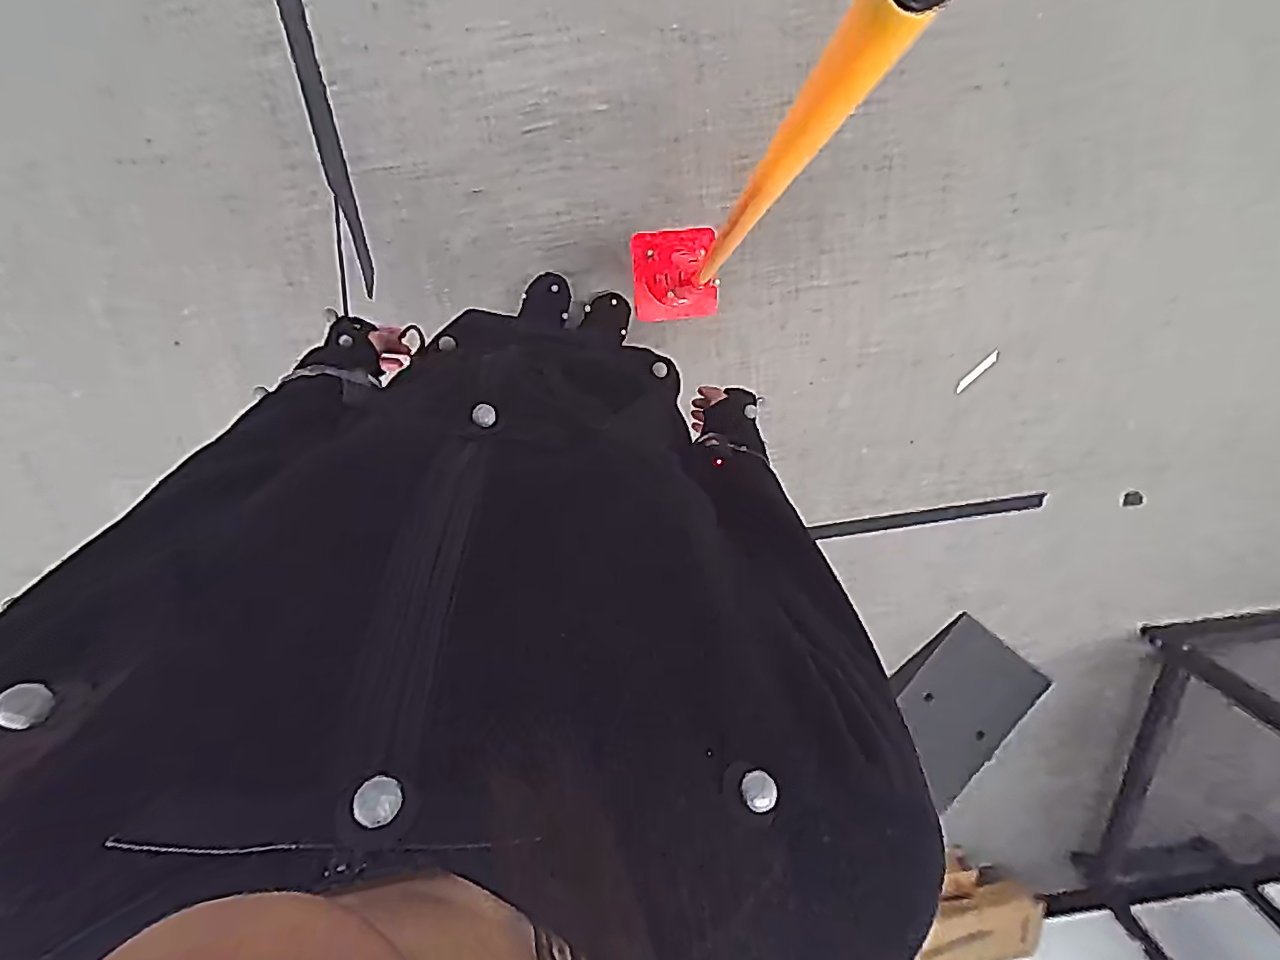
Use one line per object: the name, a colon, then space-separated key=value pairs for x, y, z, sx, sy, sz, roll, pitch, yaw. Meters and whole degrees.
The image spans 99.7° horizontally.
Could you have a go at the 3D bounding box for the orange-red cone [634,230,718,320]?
orange-red cone: x=0.097 y=-0.419 z=1.120 sx=0.198 sy=0.360 sz=0.199 roll=-4 pitch=113 yaw=-2
